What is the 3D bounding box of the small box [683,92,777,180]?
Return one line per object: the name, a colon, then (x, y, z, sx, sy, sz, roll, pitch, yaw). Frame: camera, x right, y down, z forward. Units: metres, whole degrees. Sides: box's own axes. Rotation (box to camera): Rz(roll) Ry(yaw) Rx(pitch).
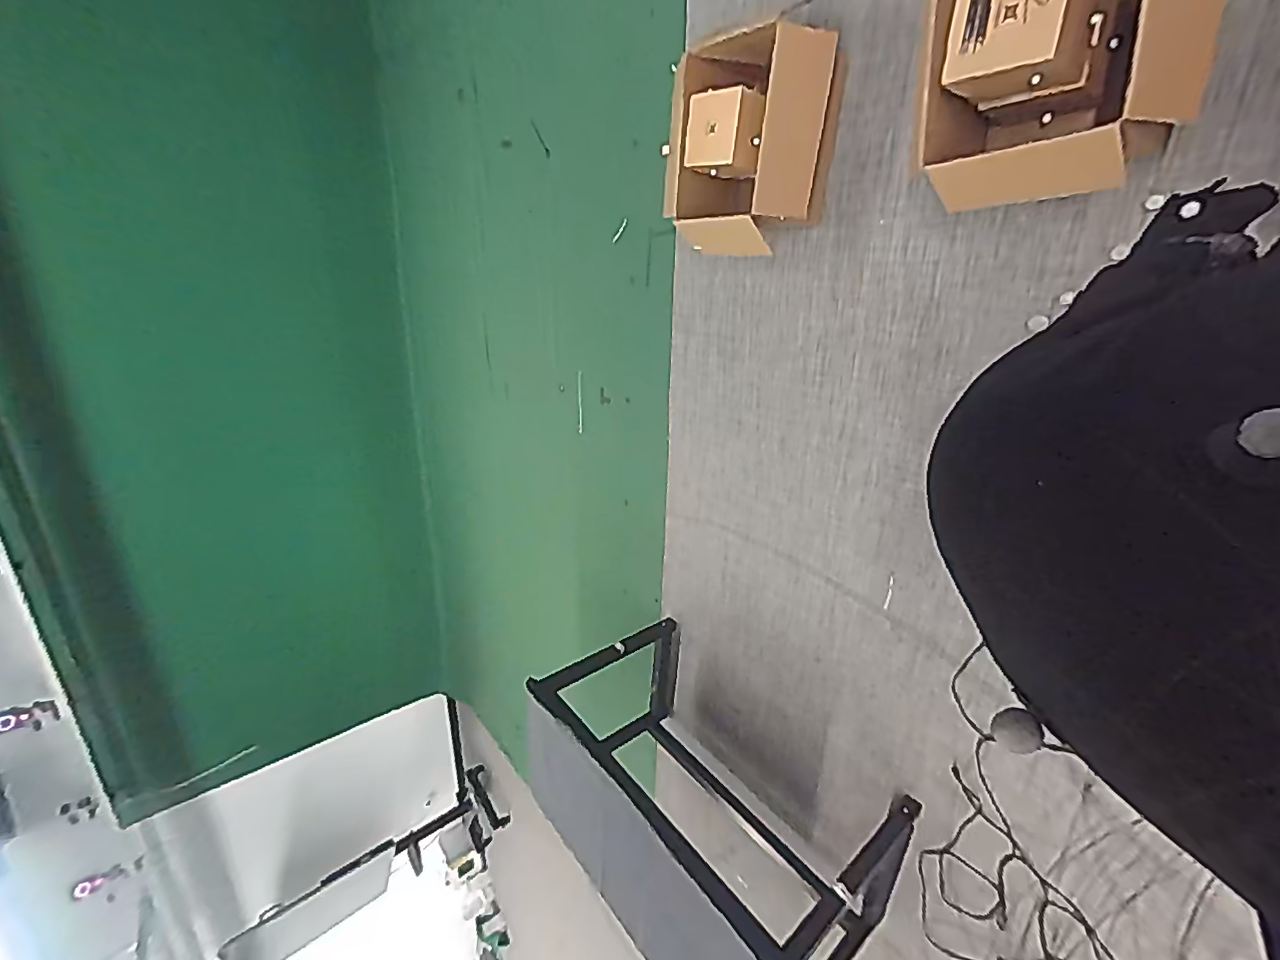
small box: (0.240, -0.905, 1.438, 0.179, 0.176, 0.168, 27, 120, 43)
